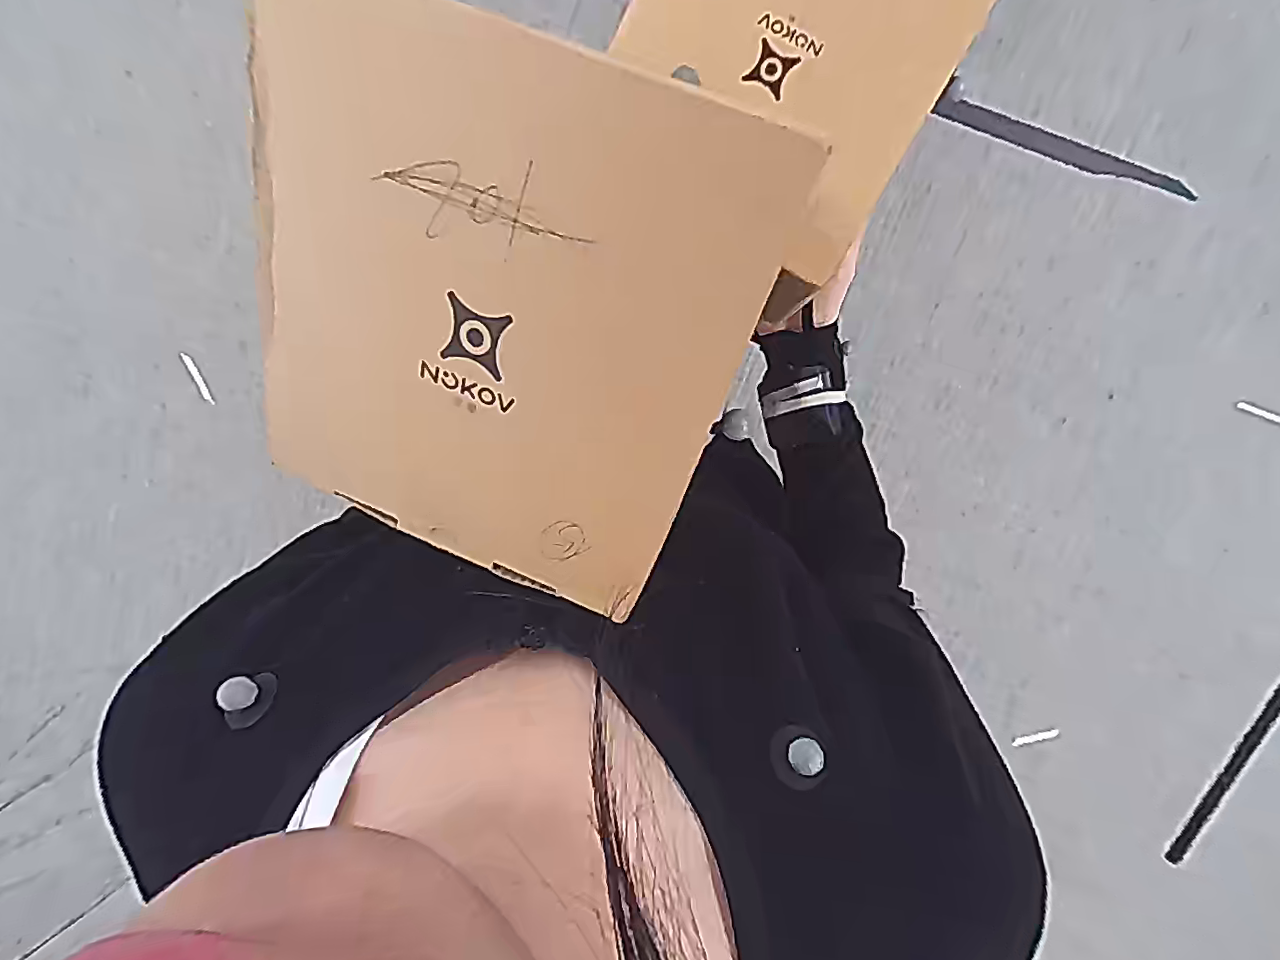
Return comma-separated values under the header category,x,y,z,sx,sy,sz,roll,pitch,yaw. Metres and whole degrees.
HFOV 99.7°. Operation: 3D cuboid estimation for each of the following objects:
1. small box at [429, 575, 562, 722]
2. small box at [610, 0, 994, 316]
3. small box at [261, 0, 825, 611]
category,x,y,z,sx,sy,sz,roll,pitch,yaw
small box,-0.257,0.303,1.012,0.168,0.176,0.179,25,100,0
small box,0.080,-0.231,0.360,0.168,0.176,0.179,29,98,0
small box,-0.031,-0.081,0.250,0.168,0.176,0.179,22,119,4
